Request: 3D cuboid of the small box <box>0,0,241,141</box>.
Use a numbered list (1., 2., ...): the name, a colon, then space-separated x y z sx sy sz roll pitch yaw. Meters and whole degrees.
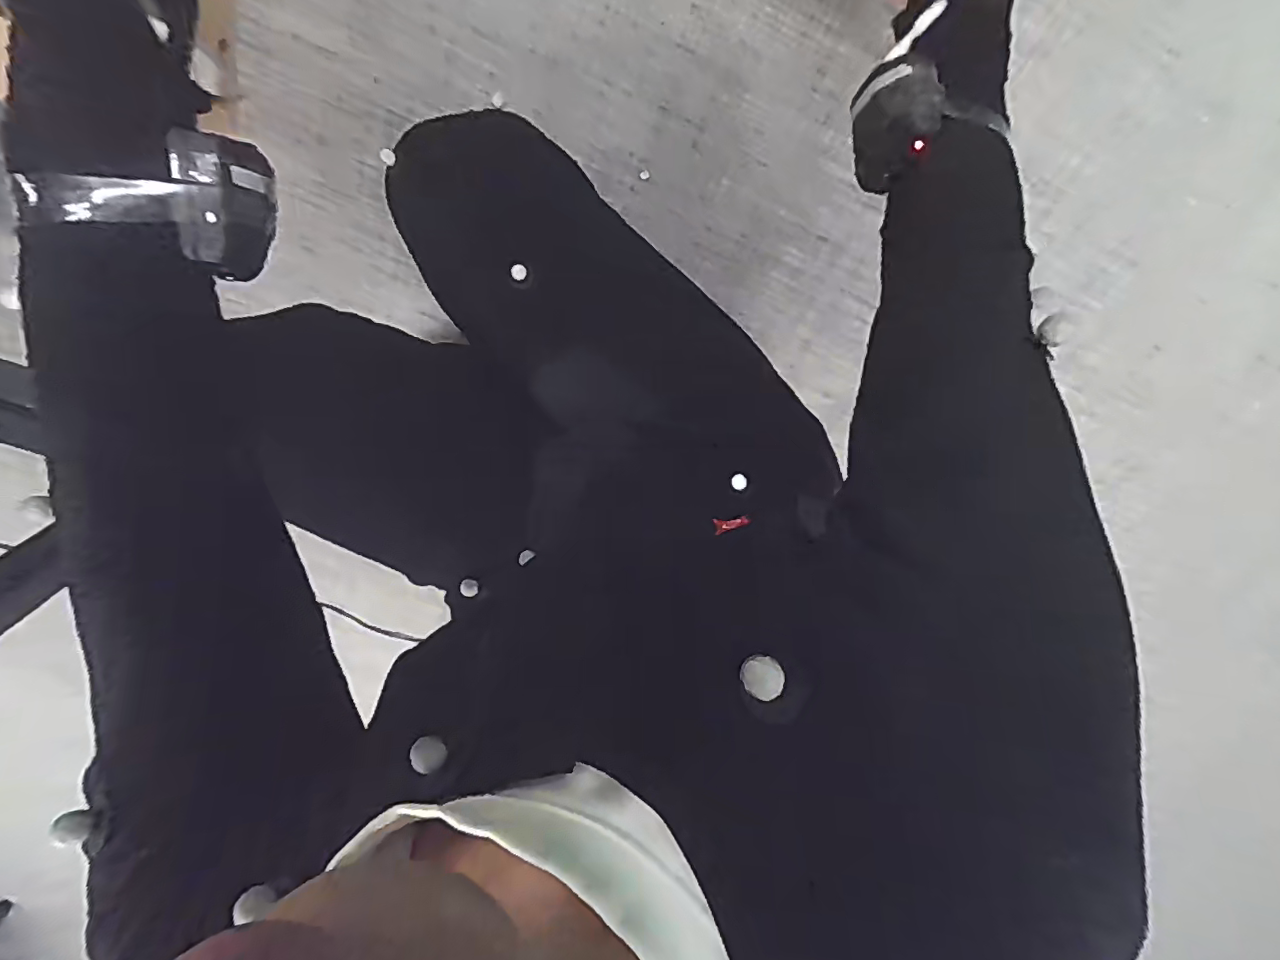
1. small box: -0.543 -0.460 0.532 0.179 0.176 0.168 23 122 -9
